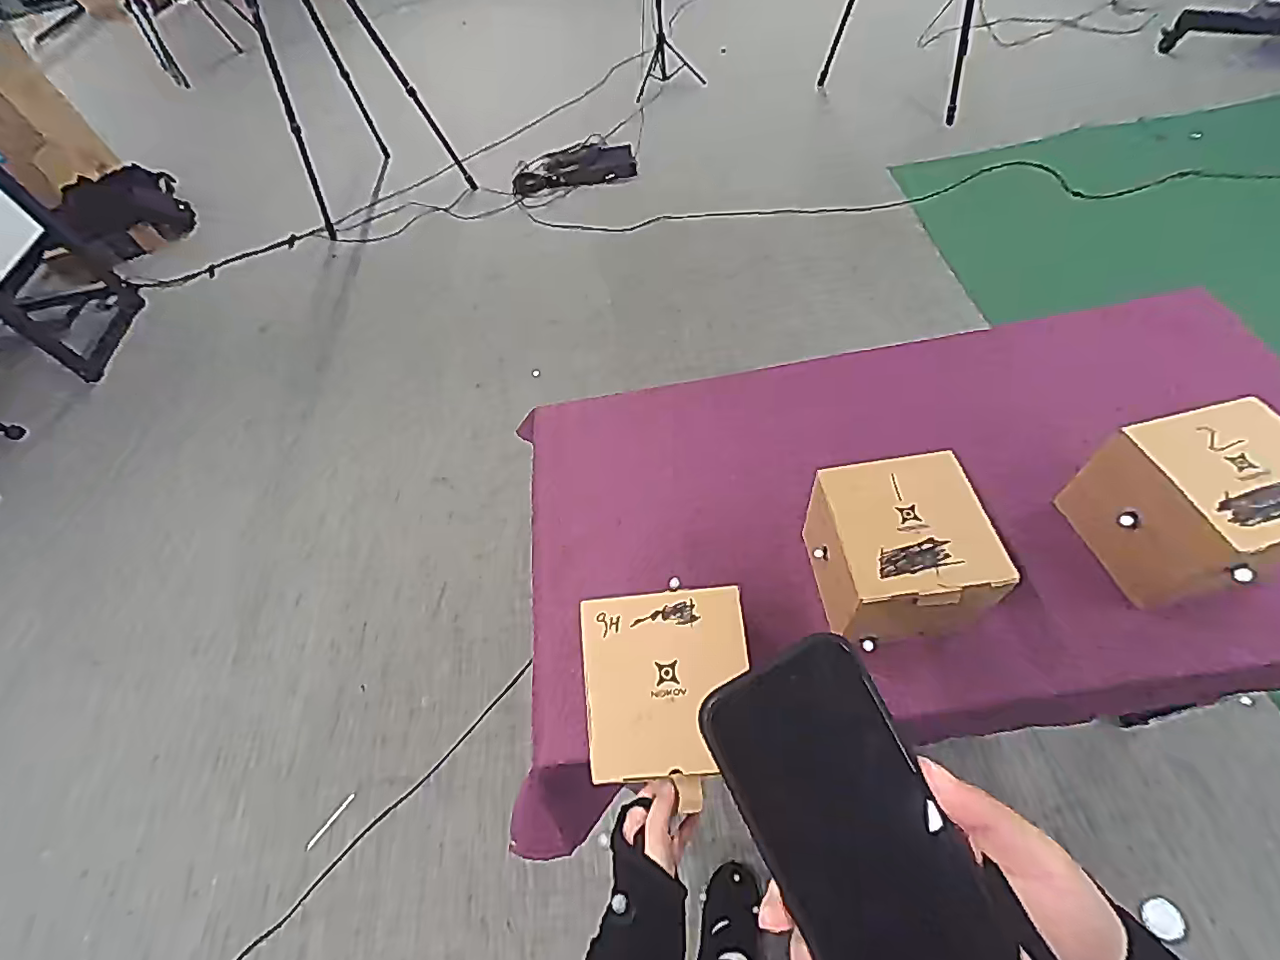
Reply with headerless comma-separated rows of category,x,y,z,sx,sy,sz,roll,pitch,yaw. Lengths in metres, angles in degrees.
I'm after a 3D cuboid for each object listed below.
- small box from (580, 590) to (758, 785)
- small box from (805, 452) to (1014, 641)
small box,0.034,0.219,0.610,0.168,0.176,0.179,-7,77,5
small box,0.315,0.092,0.678,0.168,0.176,0.179,-9,54,4
